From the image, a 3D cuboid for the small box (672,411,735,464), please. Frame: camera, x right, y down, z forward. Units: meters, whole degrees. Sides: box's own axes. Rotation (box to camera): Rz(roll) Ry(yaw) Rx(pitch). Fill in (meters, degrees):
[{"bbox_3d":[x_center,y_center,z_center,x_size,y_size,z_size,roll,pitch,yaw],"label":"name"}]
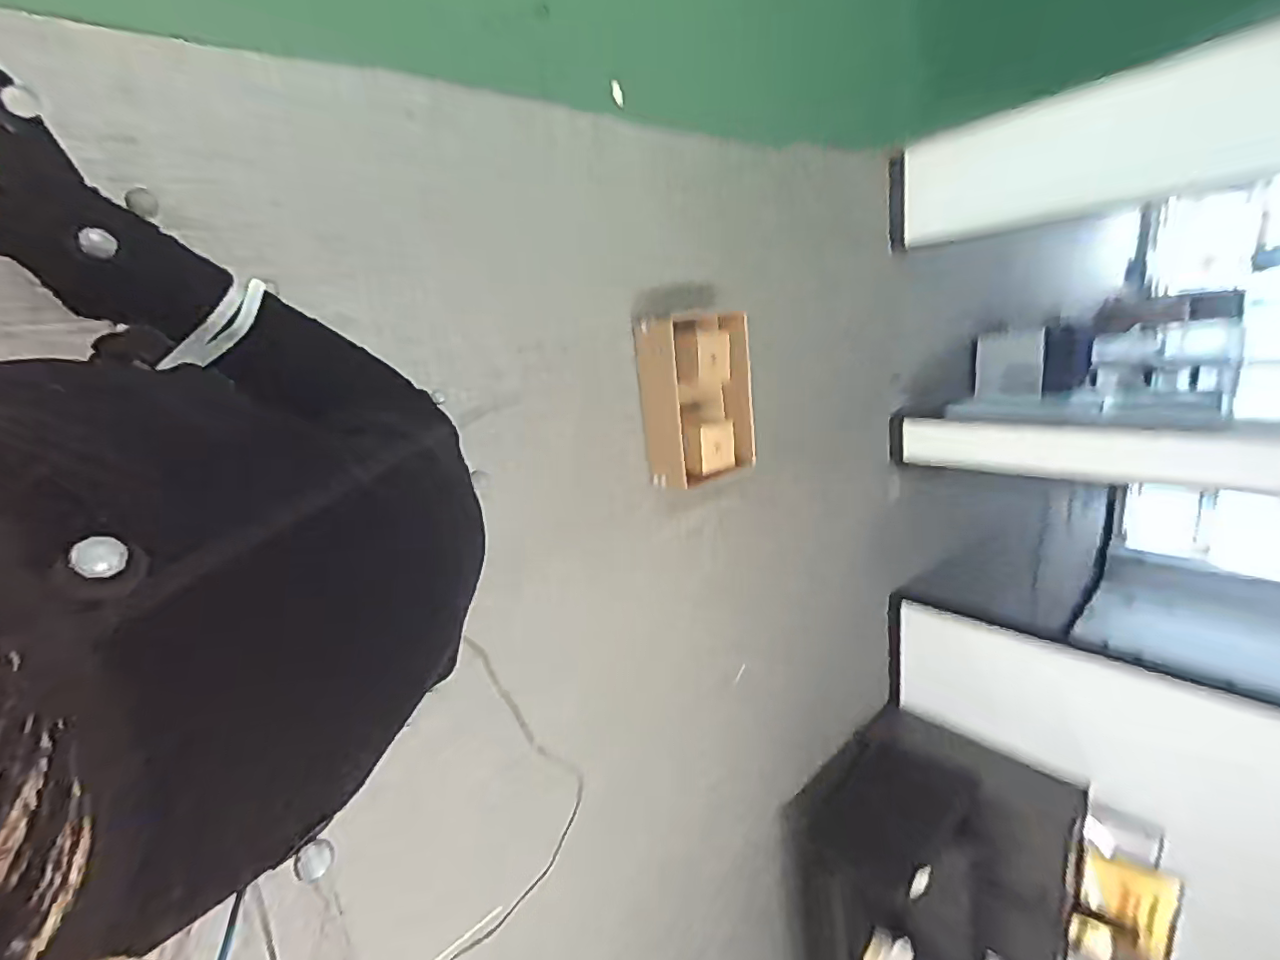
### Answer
[{"bbox_3d":[0.232,-0.162,2.017,0.179,0.176,0.168,-17,109,-37],"label":"small box"}]
